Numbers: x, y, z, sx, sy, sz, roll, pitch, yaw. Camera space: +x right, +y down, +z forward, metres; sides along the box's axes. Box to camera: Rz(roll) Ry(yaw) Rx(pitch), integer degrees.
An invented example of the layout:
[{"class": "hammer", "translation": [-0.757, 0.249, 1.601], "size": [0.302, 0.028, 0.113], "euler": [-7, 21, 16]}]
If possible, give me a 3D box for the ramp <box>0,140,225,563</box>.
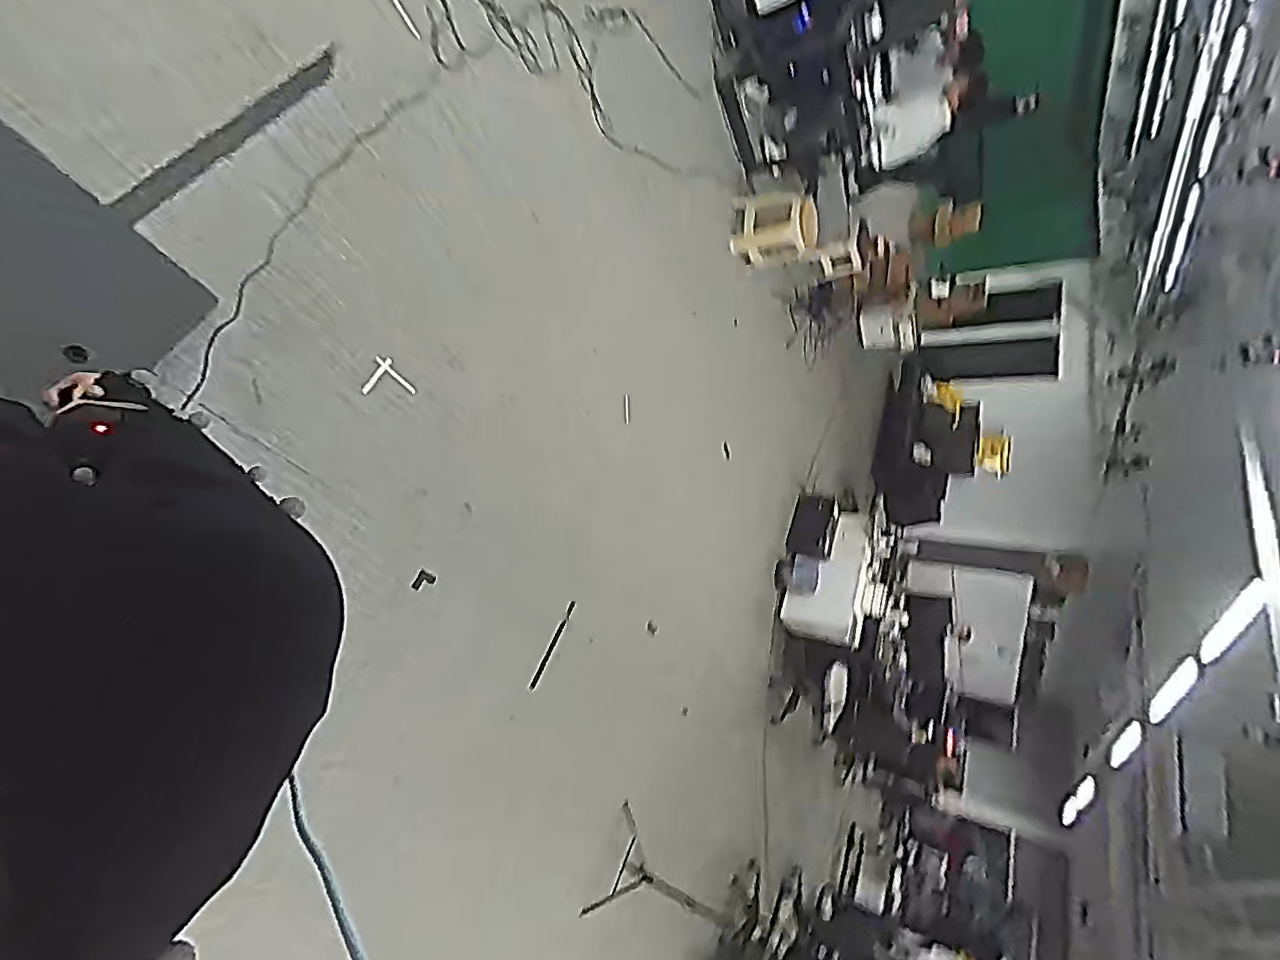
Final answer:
[{"class": "ramp", "translation": [-1.198, -0.122, 0.860], "size": [0.509, 0.206, 0.991], "euler": [48, 54, -43]}]
